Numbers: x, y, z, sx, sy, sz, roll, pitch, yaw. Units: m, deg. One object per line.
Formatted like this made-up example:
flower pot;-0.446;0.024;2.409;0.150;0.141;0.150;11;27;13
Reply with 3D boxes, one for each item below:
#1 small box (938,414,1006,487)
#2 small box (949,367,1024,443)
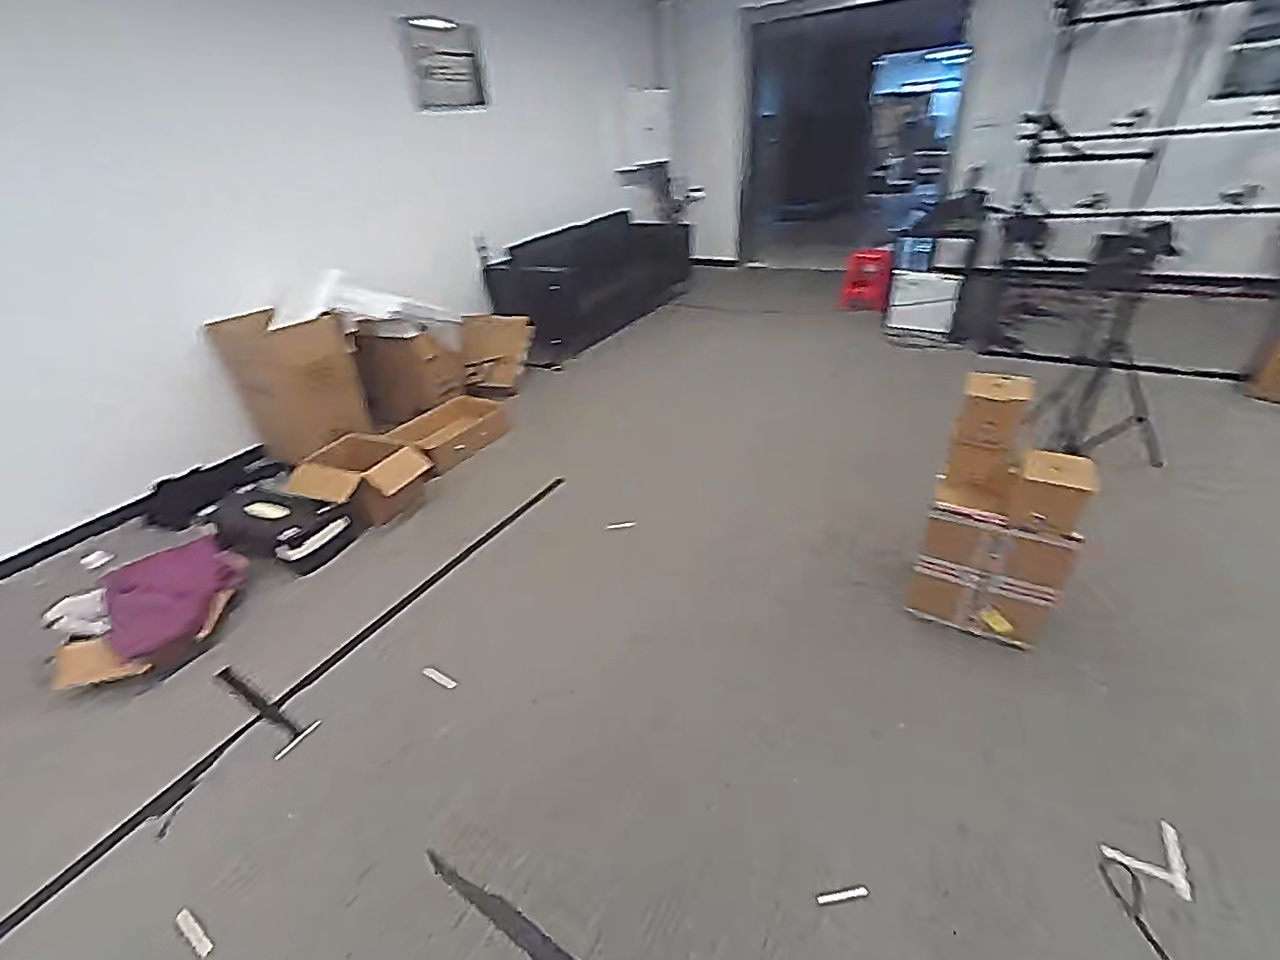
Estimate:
small box;1.094;-0.103;1.782;0.168;0.176;0.179;12;39;28
small box;1.075;-0.233;1.683;0.168;0.176;0.179;13;40;29
